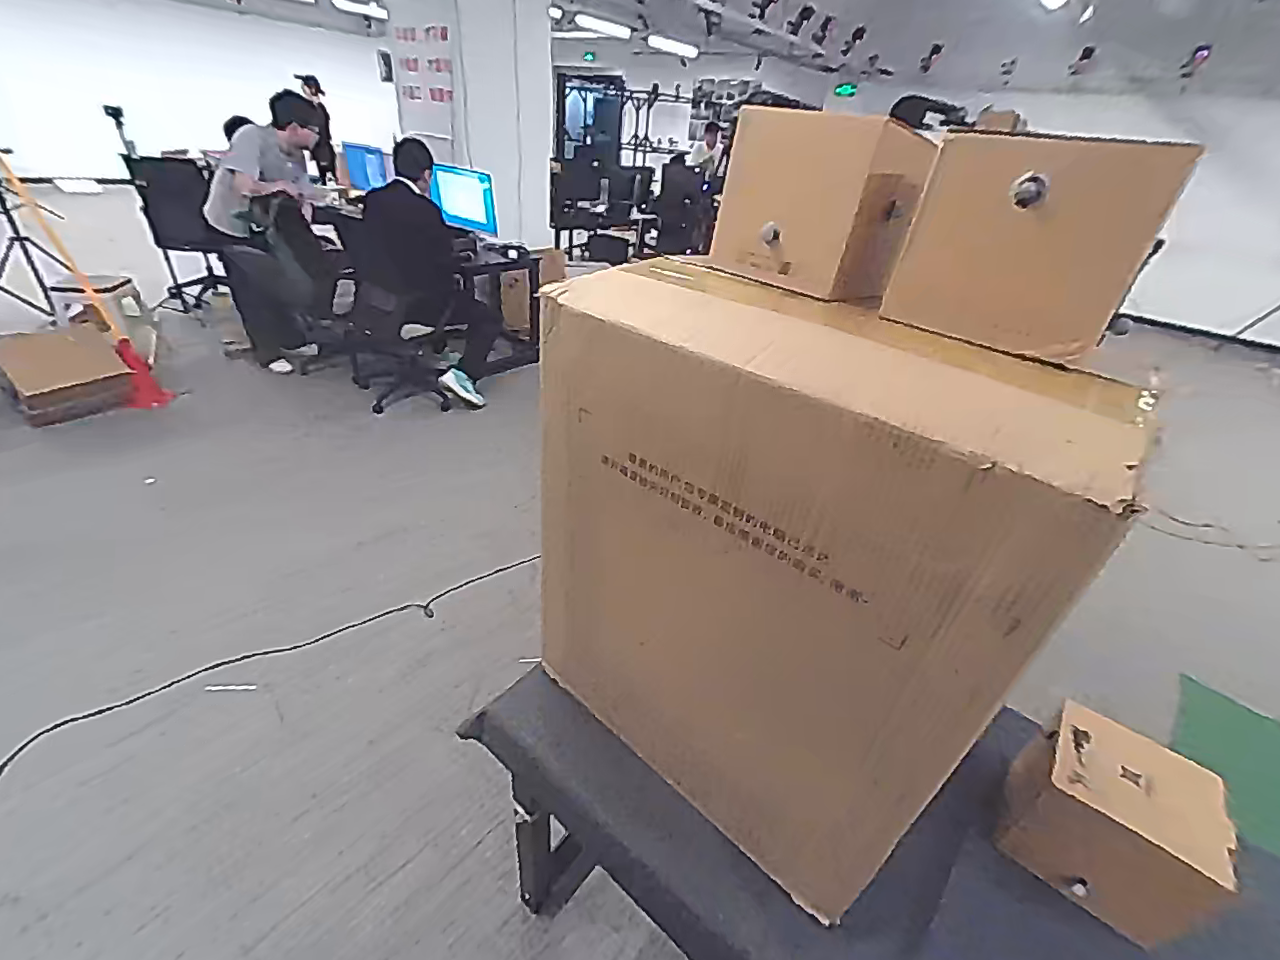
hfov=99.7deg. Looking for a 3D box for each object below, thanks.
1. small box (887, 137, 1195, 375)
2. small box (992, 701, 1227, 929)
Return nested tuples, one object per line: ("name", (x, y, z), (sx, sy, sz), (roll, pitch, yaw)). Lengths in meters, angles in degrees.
("small box", (0.372, -0.214, 0.525), (0.179, 0.176, 0.168), (30, 36, 31))
("small box", (0.615, 0.447, 0.724), (0.179, 0.176, 0.168), (27, 38, 31))
